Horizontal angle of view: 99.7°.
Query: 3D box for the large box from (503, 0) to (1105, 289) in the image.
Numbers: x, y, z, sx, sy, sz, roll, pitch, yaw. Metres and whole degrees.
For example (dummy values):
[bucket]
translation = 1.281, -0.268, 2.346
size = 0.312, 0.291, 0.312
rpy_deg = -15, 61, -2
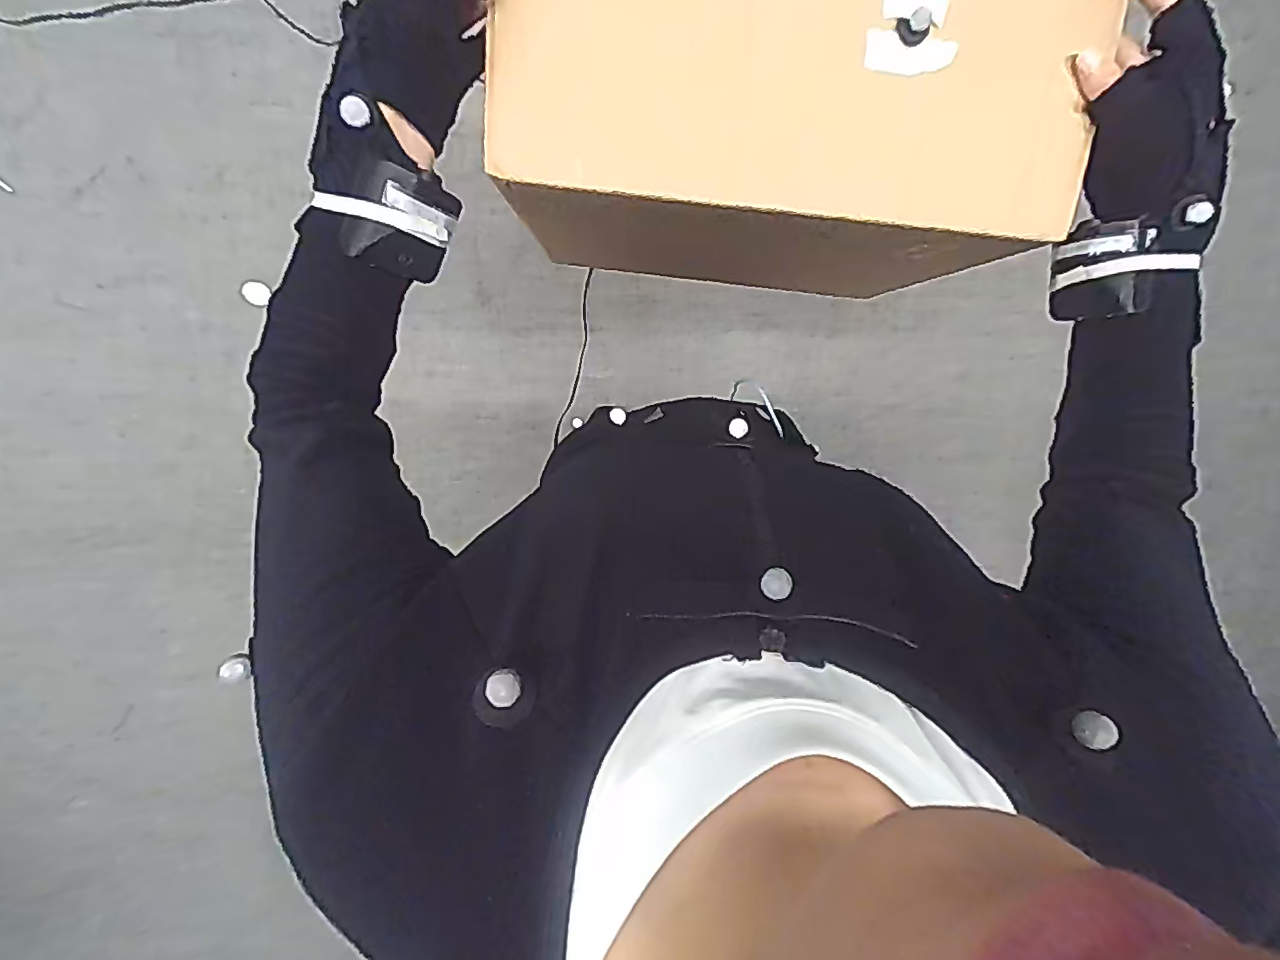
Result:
[large box]
translation = 0.108, -0.372, 0.498
size = 0.408, 0.320, 0.320
rpy_deg = 5, 102, -2
